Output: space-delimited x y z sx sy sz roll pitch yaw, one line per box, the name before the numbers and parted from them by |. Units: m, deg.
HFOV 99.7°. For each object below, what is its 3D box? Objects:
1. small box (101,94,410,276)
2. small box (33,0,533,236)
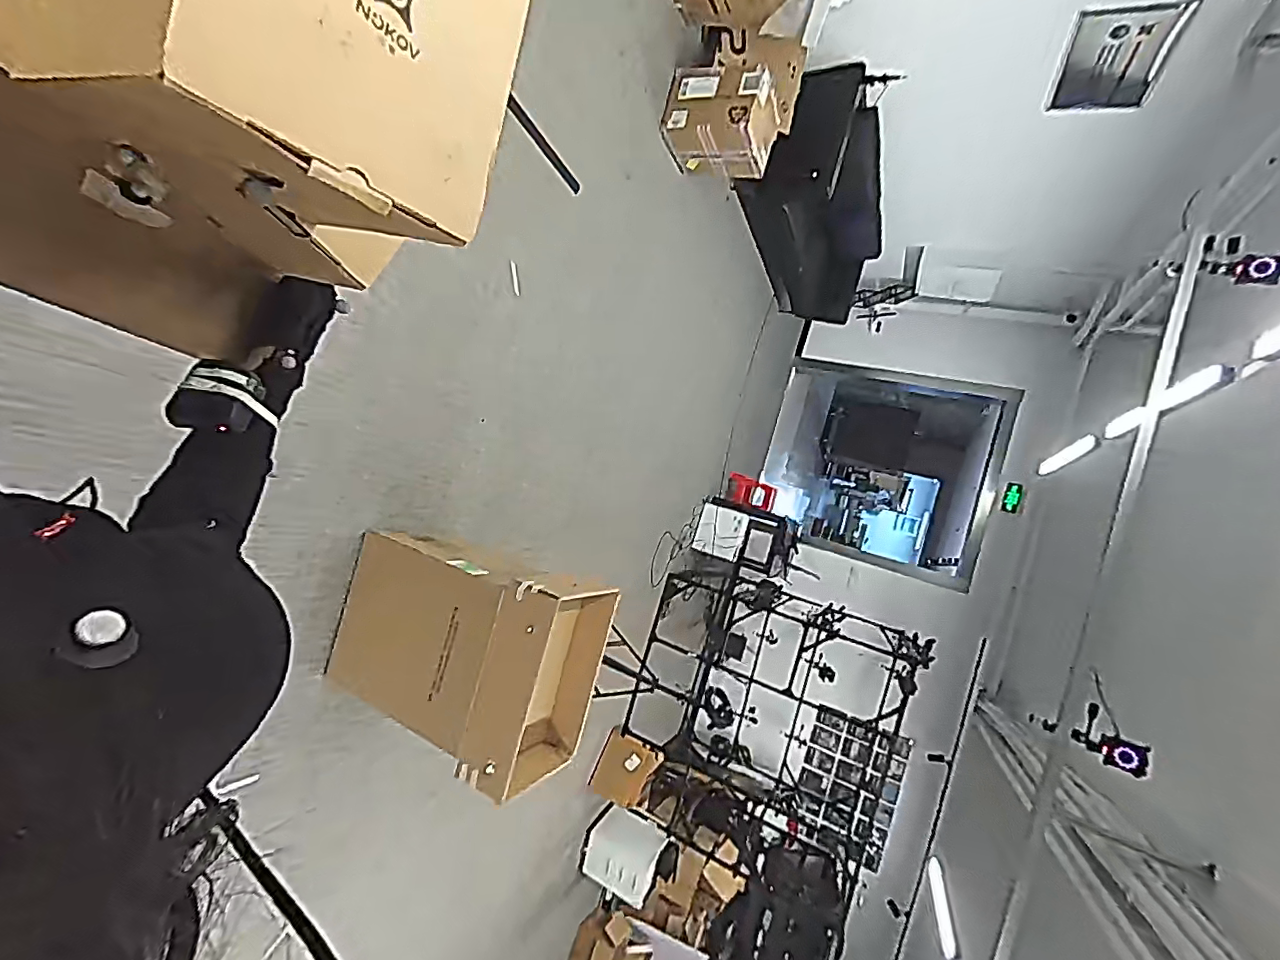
small box | -0.295 -0.305 0.459 0.179 0.176 0.168 -64 154 -16
small box | -0.192 -0.269 0.308 0.168 0.176 0.179 3 106 -64
